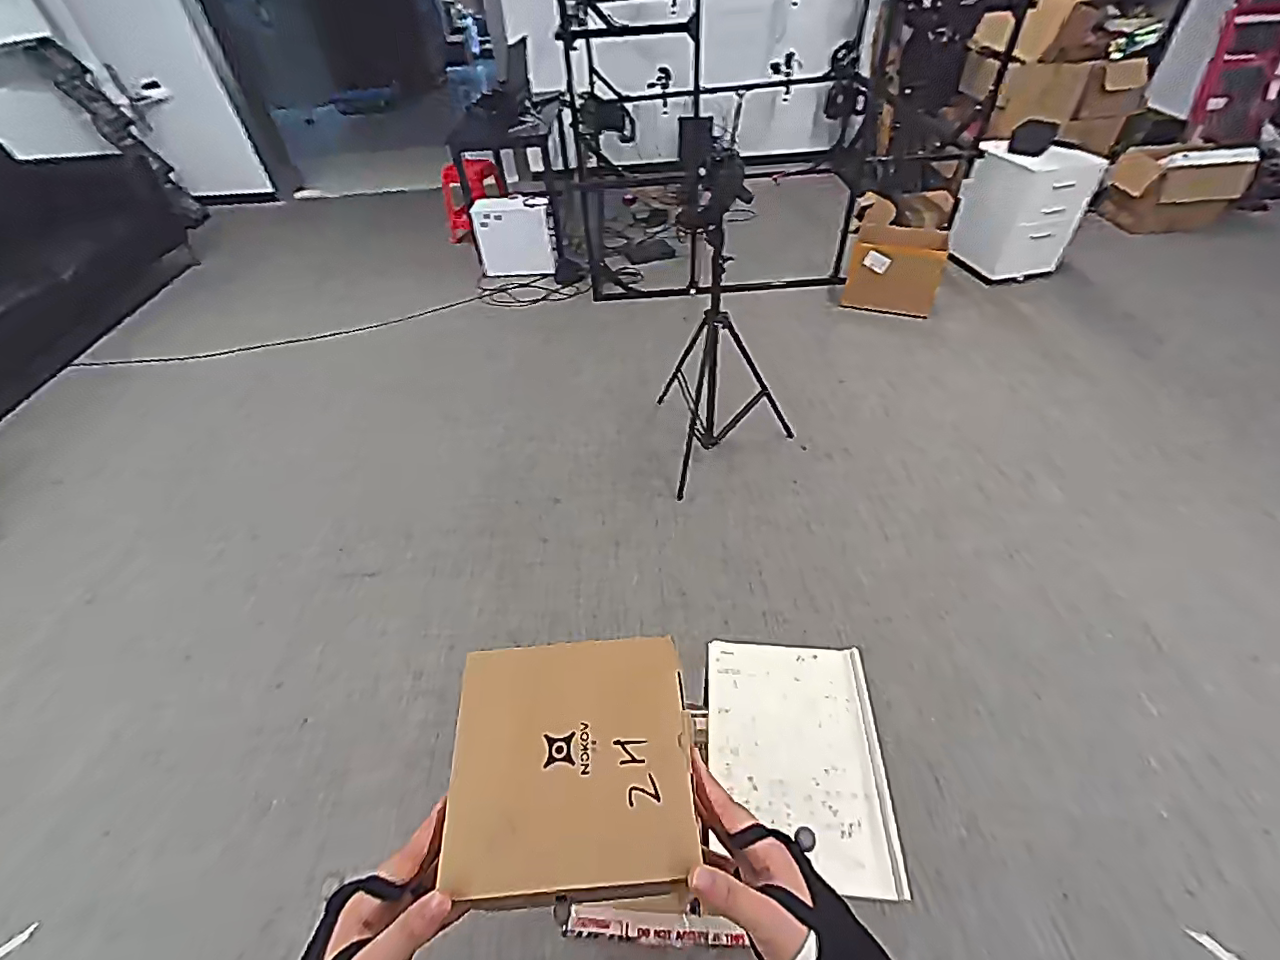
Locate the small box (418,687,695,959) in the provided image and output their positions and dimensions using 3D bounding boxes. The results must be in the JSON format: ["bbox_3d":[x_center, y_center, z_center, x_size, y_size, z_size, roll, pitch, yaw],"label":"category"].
[{"bbox_3d":[-0.054,0.285,0.443,0.179,0.176,0.168,-4,51,-2],"label":"small box"}]

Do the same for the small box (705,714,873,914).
[{"bbox_3d":[0.170,0.421,0.683,0.168,0.176,0.179,3,47,4],"label":"small box"}]
